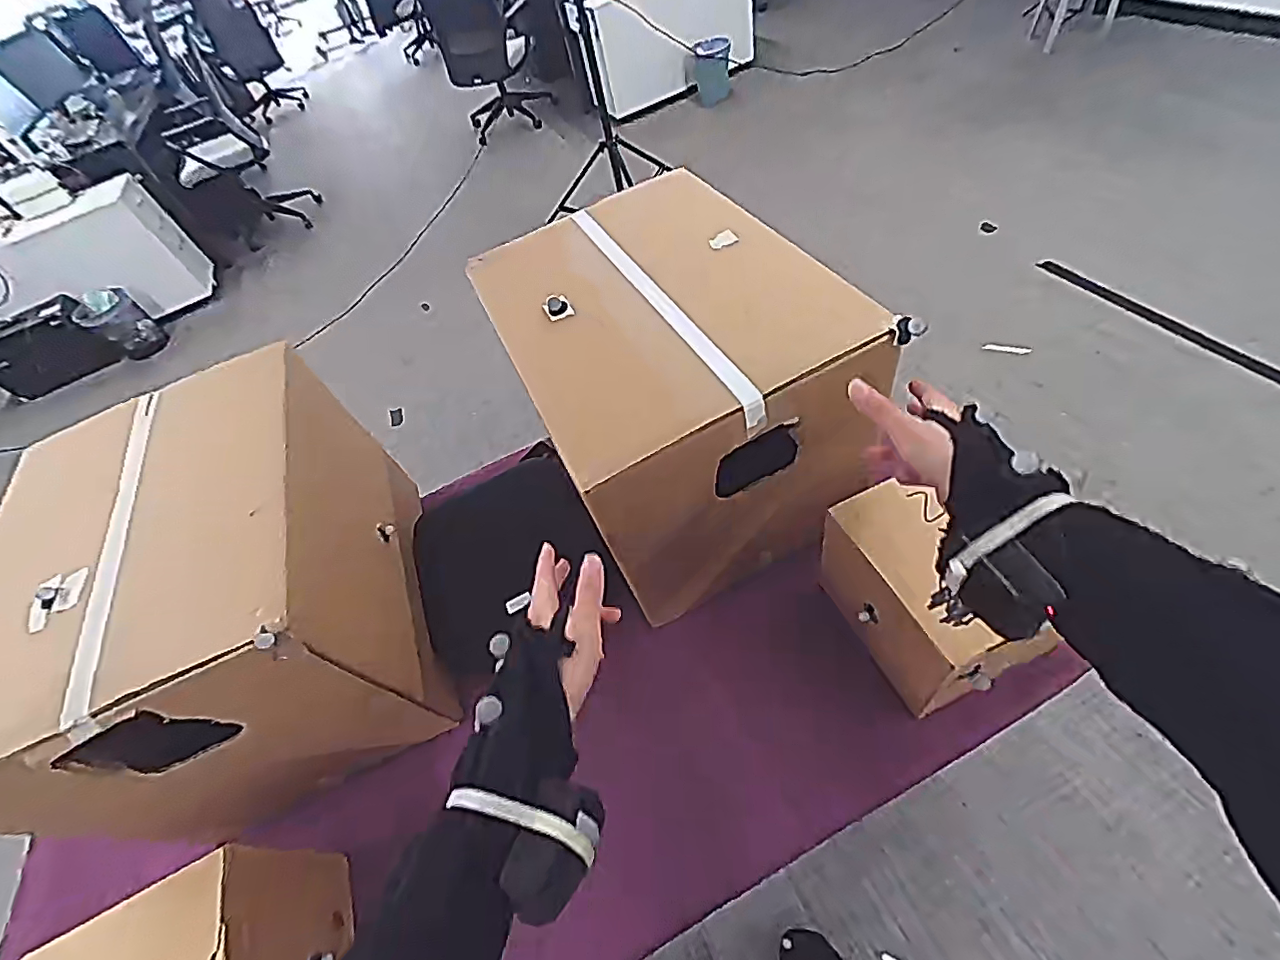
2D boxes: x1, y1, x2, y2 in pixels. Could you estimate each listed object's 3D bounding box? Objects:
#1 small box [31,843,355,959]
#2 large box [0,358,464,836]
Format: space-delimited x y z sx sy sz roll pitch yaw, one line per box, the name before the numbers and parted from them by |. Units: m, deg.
small box | -0.383 0.458 0.474 0.179 0.176 0.168 -28 51 -7
large box | -0.455 0.135 0.646 0.320 0.320 0.408 -26 55 -5
